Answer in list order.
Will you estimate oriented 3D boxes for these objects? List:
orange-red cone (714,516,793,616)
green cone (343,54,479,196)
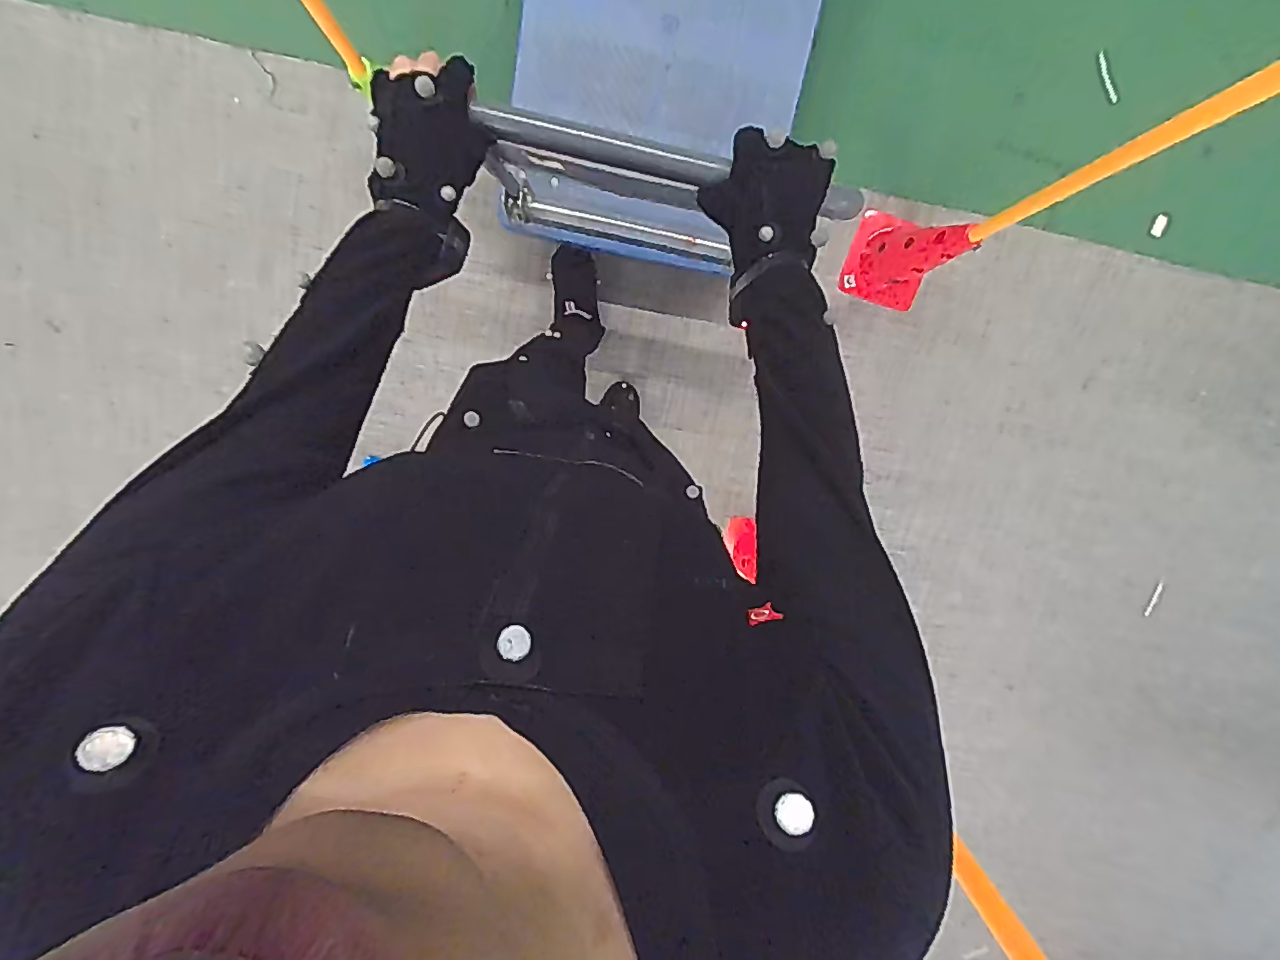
[{"bbox_3d":[0.323,0.249,1.377,0.199,0.360,0.198,11,103,-2],"label":"orange-red cone"},{"bbox_3d":[-0.488,-0.755,1.101,0.202,0.368,0.200,16,103,-4],"label":"green cone"}]
